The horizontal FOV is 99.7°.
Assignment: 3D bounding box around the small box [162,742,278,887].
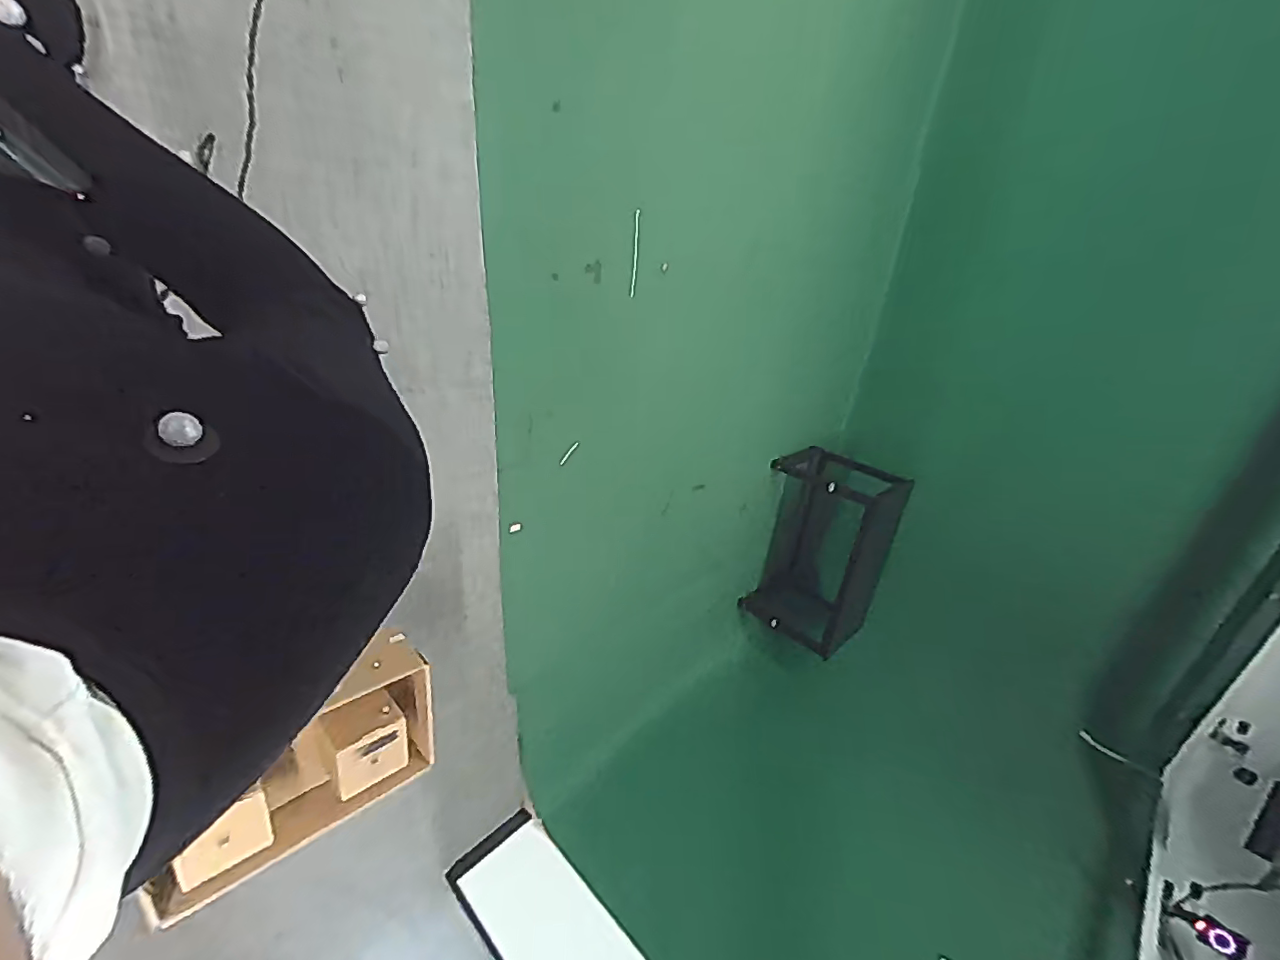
[{"bbox_3d":[-0.926,0.728,1.195,0.168,0.176,0.179,-16,122,-42],"label":"small box"}]
